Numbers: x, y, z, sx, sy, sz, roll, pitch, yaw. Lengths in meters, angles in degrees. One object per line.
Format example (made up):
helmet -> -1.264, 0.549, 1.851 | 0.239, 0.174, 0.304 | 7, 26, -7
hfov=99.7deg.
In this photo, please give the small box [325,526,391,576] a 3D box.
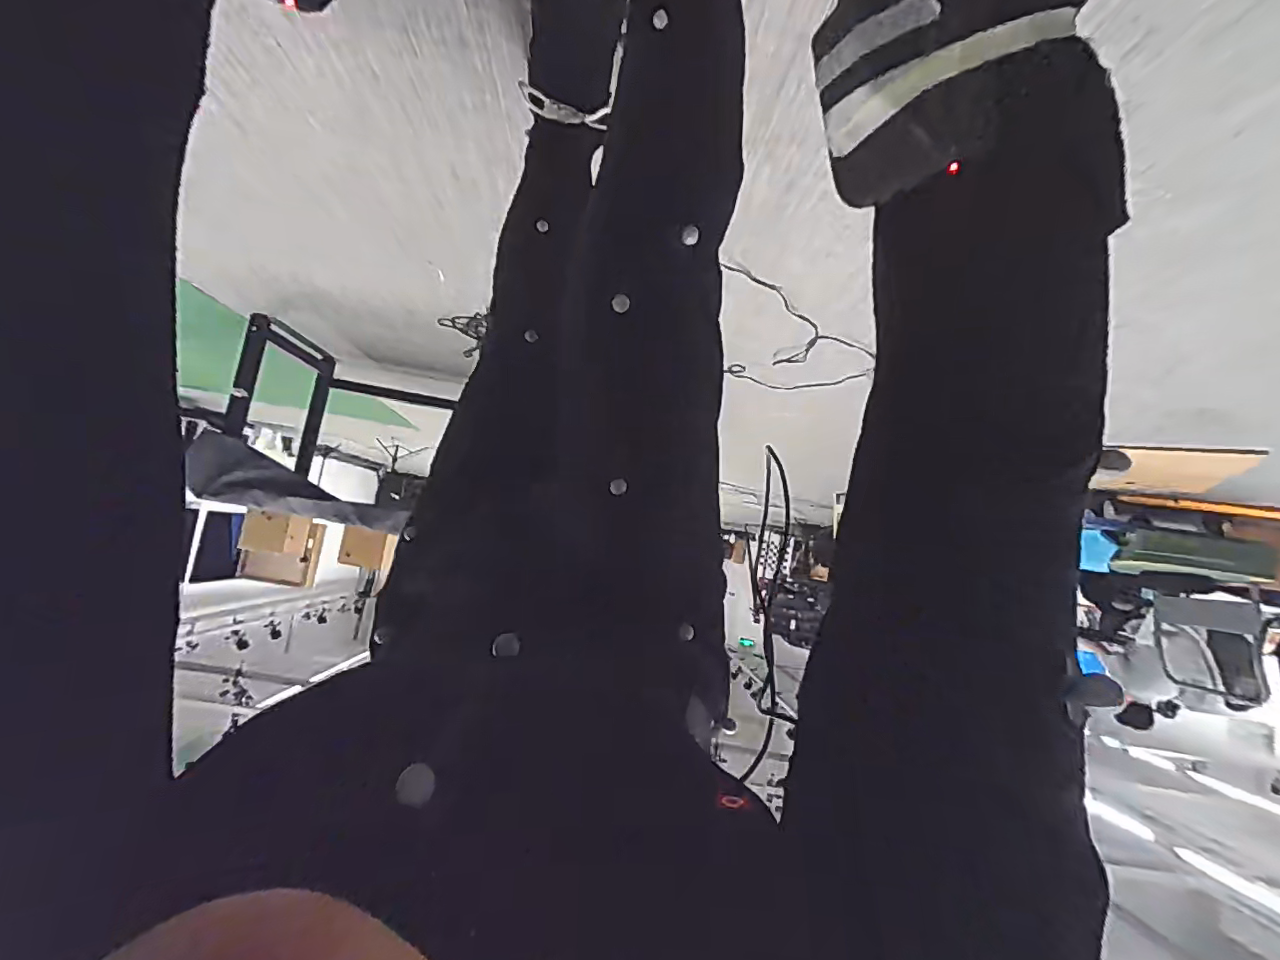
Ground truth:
small box -> -1.110, 0.278, 2.148 | 0.179, 0.176, 0.168 | 11, 173, -4
